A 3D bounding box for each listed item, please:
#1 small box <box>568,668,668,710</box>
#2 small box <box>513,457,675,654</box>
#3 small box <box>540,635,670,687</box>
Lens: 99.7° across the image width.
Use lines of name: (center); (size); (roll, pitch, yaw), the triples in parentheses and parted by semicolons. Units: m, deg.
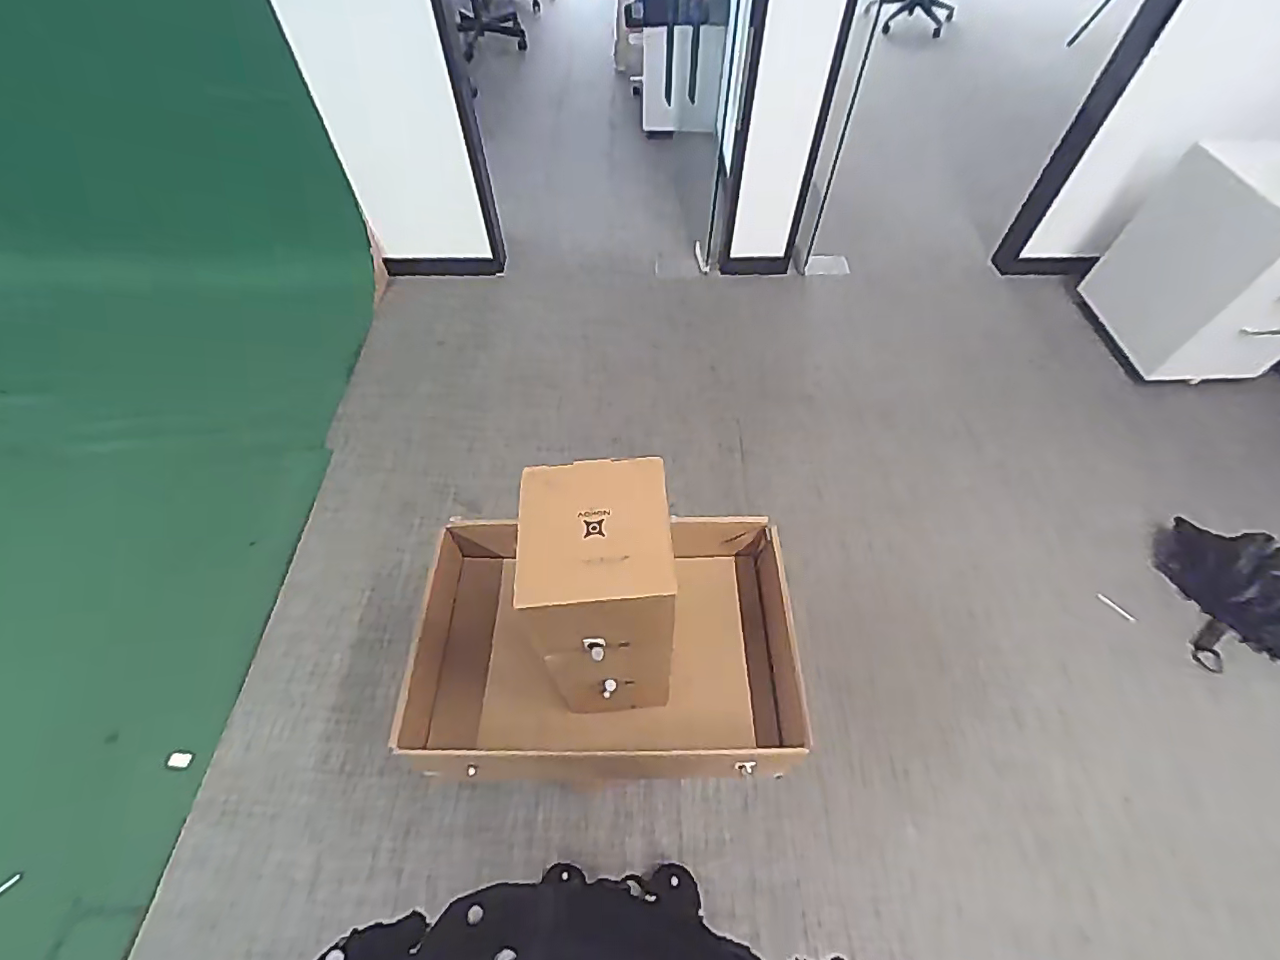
small box: (-0.044, 0.276, 0.925); (0.168, 0.176, 0.179); (-6, 54, -1)
small box: (-0.051, 0.094, 0.655); (0.168, 0.176, 0.179); (-5, 56, -1)
small box: (-0.049, 0.186, 0.788); (0.168, 0.176, 0.179); (-4, 56, -2)
